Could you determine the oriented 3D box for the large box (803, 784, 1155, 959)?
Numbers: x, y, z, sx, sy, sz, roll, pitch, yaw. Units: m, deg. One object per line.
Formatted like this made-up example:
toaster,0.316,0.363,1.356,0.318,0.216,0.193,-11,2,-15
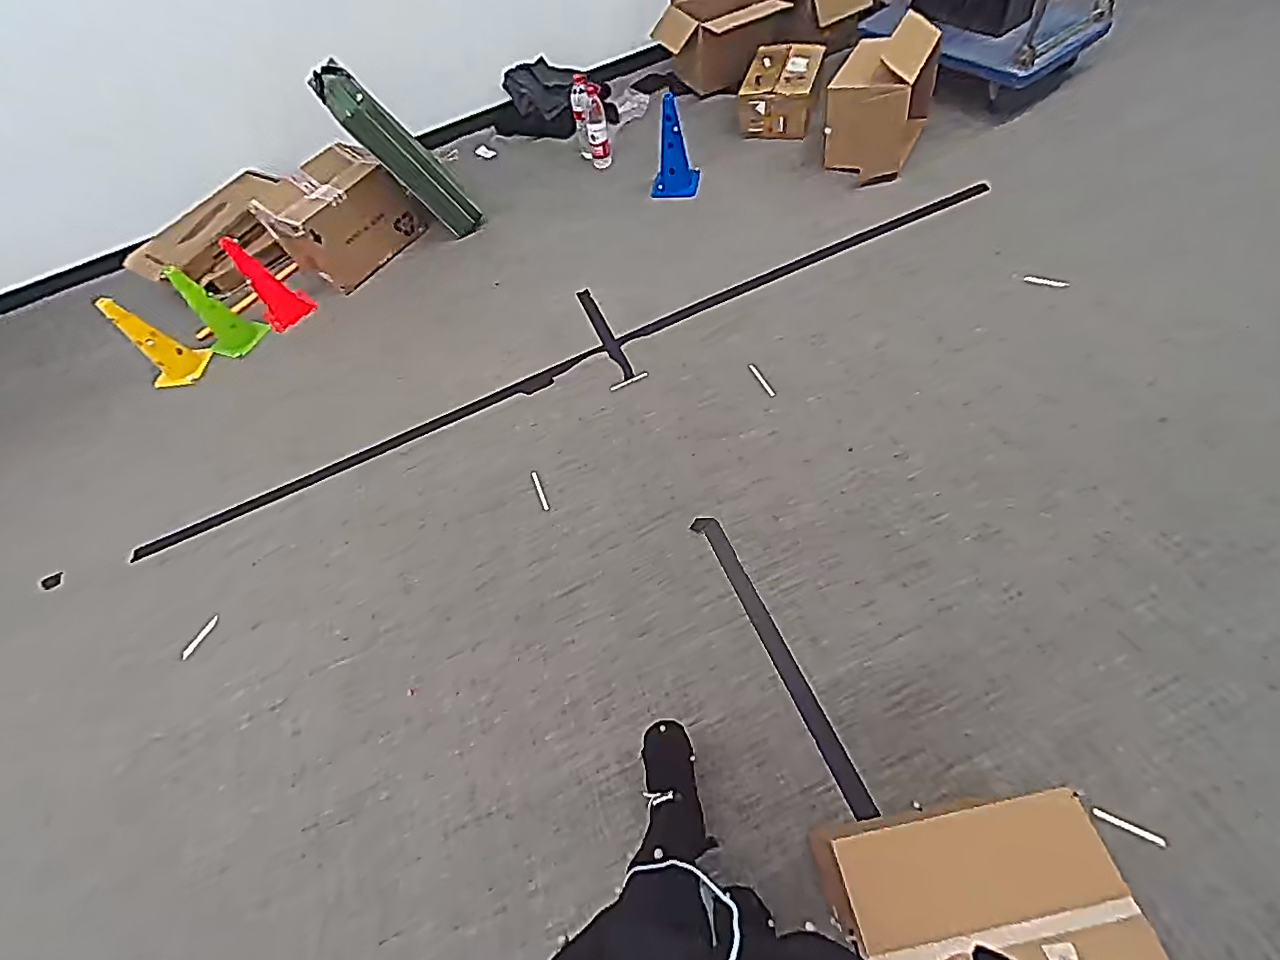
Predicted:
large box,0.541,0.747,0.926,0.408,0.320,0.320,-13,58,0
